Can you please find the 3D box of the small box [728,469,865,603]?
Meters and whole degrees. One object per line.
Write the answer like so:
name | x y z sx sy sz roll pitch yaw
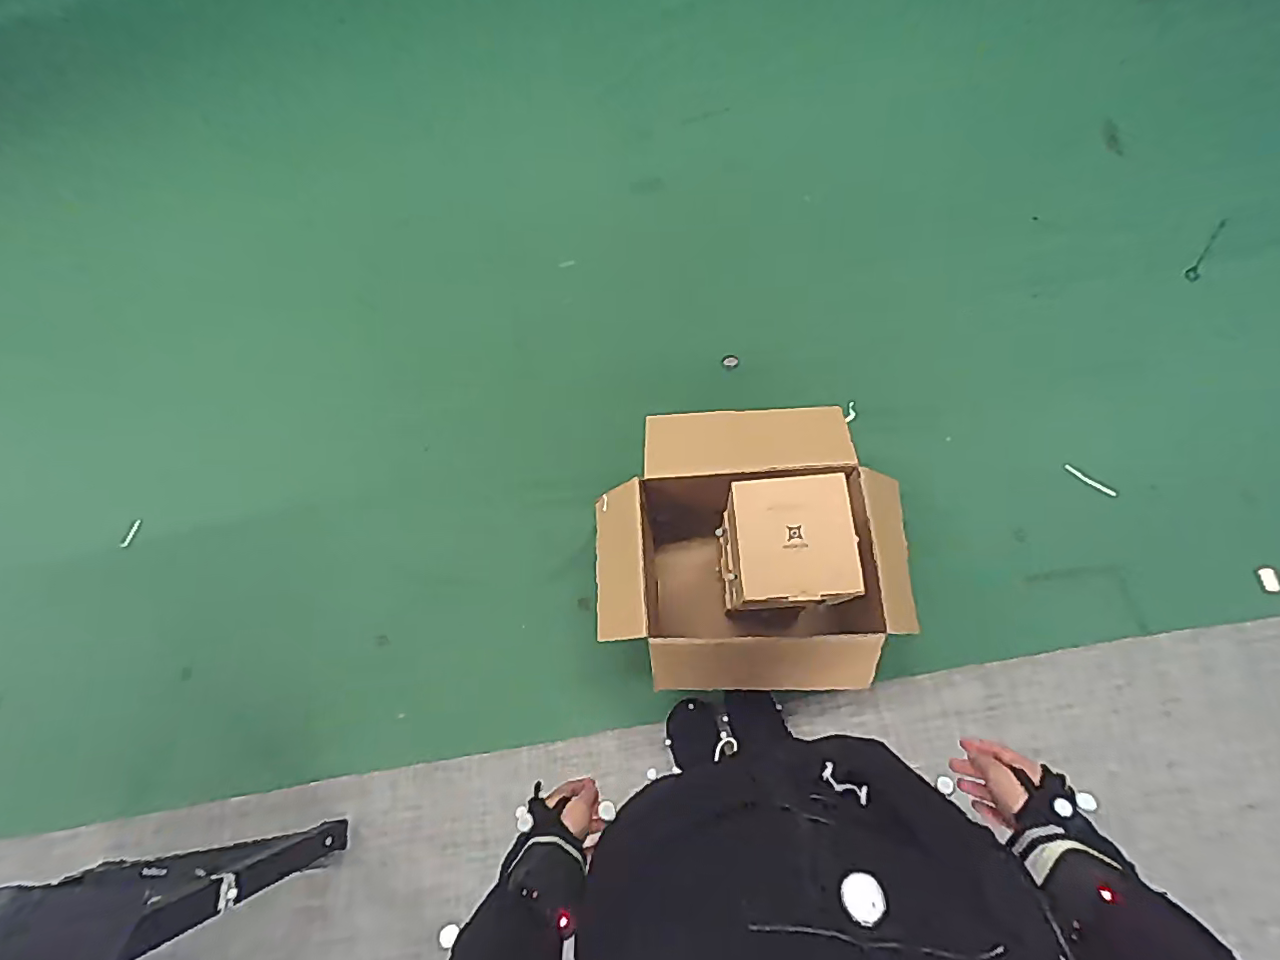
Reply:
small box | 0.229 0.096 0.837 0.168 0.176 0.179 -5 71 5
